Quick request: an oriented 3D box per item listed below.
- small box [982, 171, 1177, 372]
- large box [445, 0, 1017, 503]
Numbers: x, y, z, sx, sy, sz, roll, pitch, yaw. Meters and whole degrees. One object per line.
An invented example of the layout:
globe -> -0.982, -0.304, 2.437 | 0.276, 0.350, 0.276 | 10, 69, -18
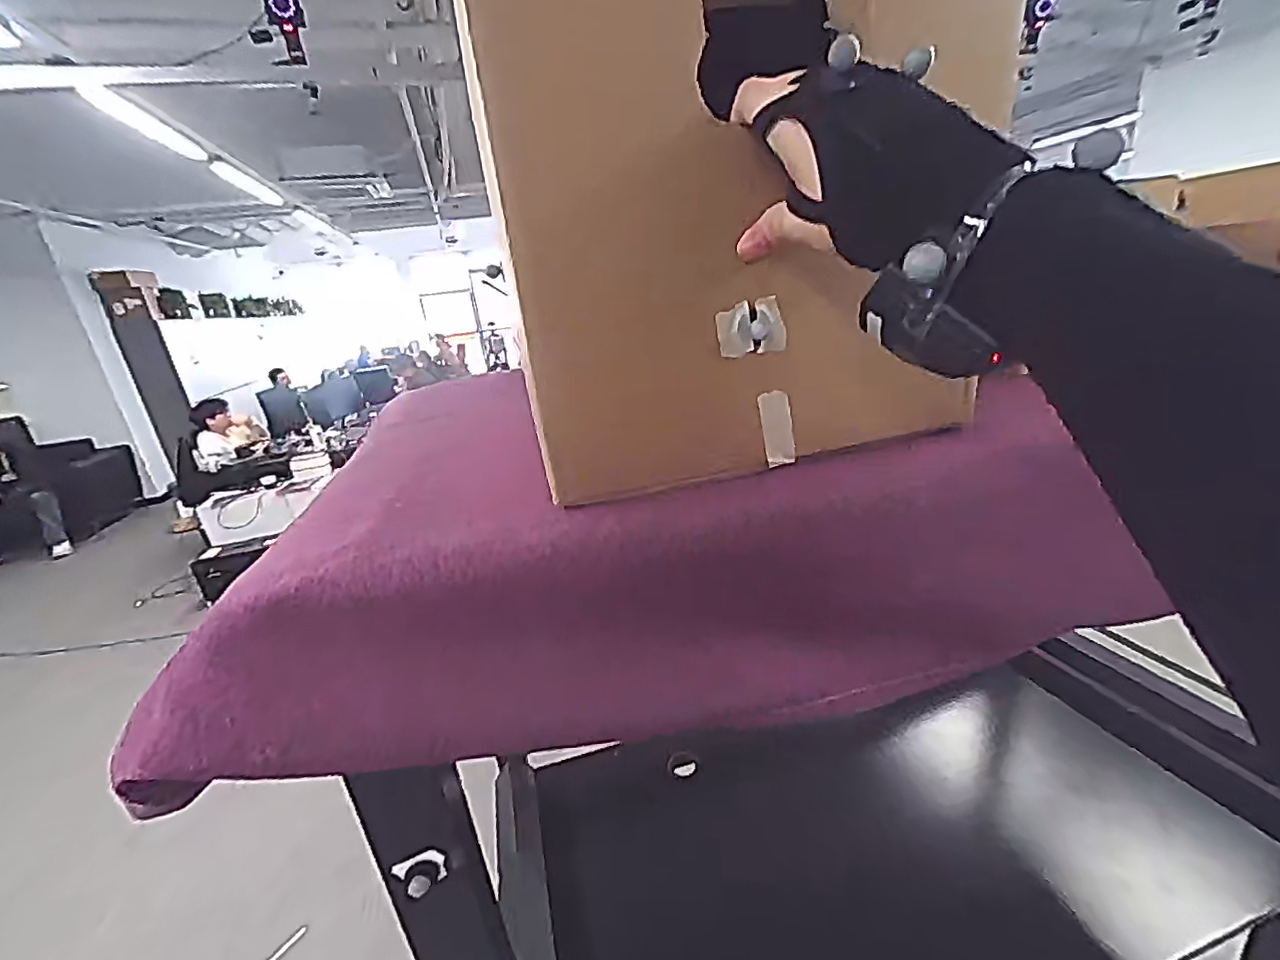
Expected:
small box -> 0.418, -0.222, 0.594 | 0.179, 0.176, 0.168 | -13, 19, -12
large box -> 0.031, -0.213, 0.483 | 0.320, 0.320, 0.408 | -11, 22, -11
